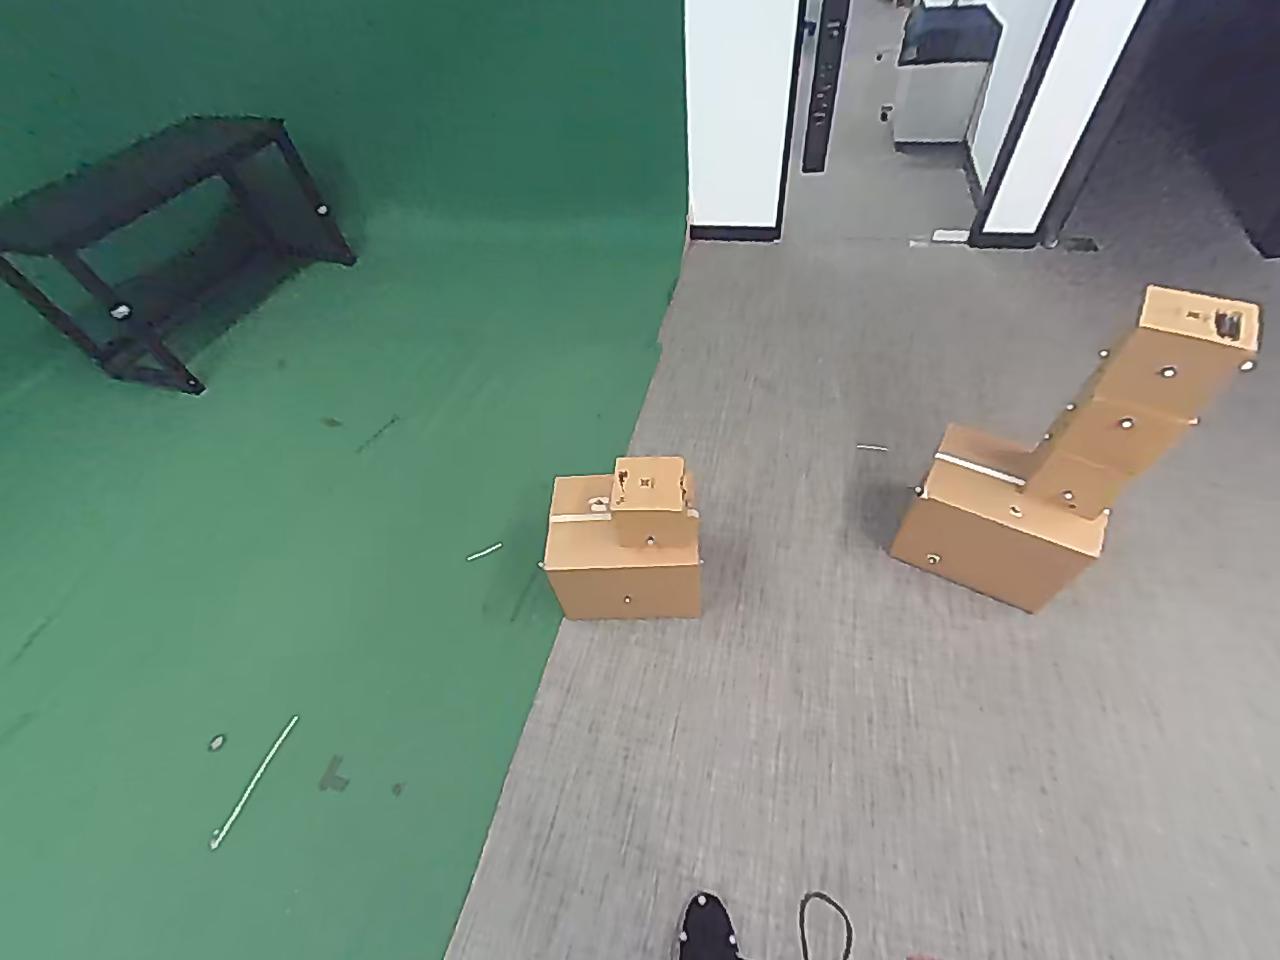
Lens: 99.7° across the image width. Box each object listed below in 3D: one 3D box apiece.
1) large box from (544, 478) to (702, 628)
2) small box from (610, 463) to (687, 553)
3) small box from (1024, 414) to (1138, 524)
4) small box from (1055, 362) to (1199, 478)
[{"bbox_3d":[-0.032,0.219,1.577,0.408,0.320,0.320,-4,49,5],"label":"large box"},{"bbox_3d":[0.028,0.073,1.369,0.179,0.176,0.168,1,51,7],"label":"small box"},{"bbox_3d":[1.082,-0.027,1.330,0.168,0.176,0.179,24,56,24],"label":"small box"},{"bbox_3d":[1.077,-0.129,1.204,0.179,0.176,0.168,25,56,25],"label":"small box"}]
